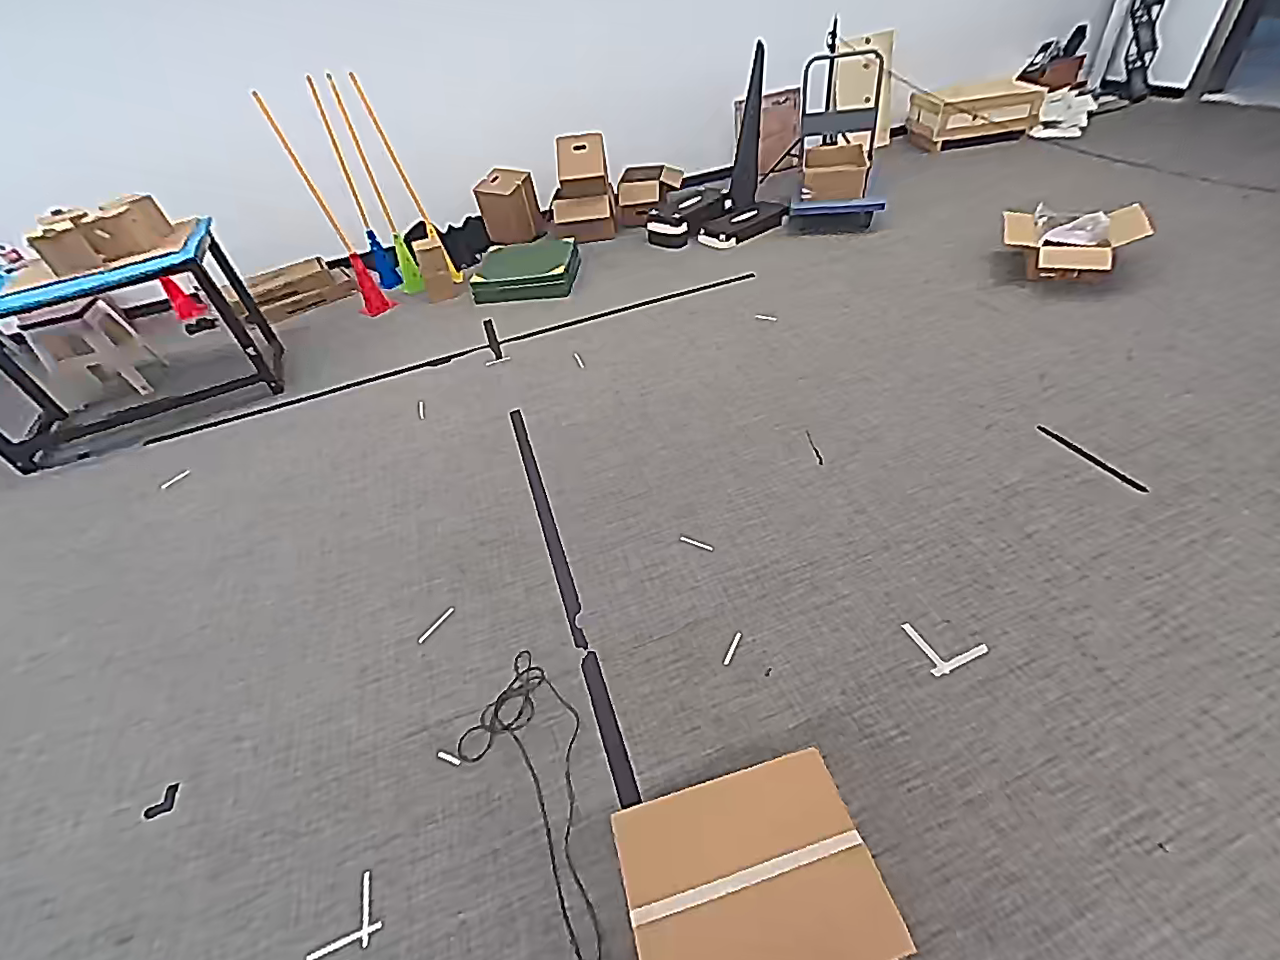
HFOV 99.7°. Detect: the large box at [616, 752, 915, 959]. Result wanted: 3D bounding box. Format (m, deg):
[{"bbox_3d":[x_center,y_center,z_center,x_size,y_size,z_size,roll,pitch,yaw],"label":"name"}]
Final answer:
[{"bbox_3d":[0.203,0.769,0.989,0.408,0.320,0.320,-15,42,-7],"label":"large box"}]
